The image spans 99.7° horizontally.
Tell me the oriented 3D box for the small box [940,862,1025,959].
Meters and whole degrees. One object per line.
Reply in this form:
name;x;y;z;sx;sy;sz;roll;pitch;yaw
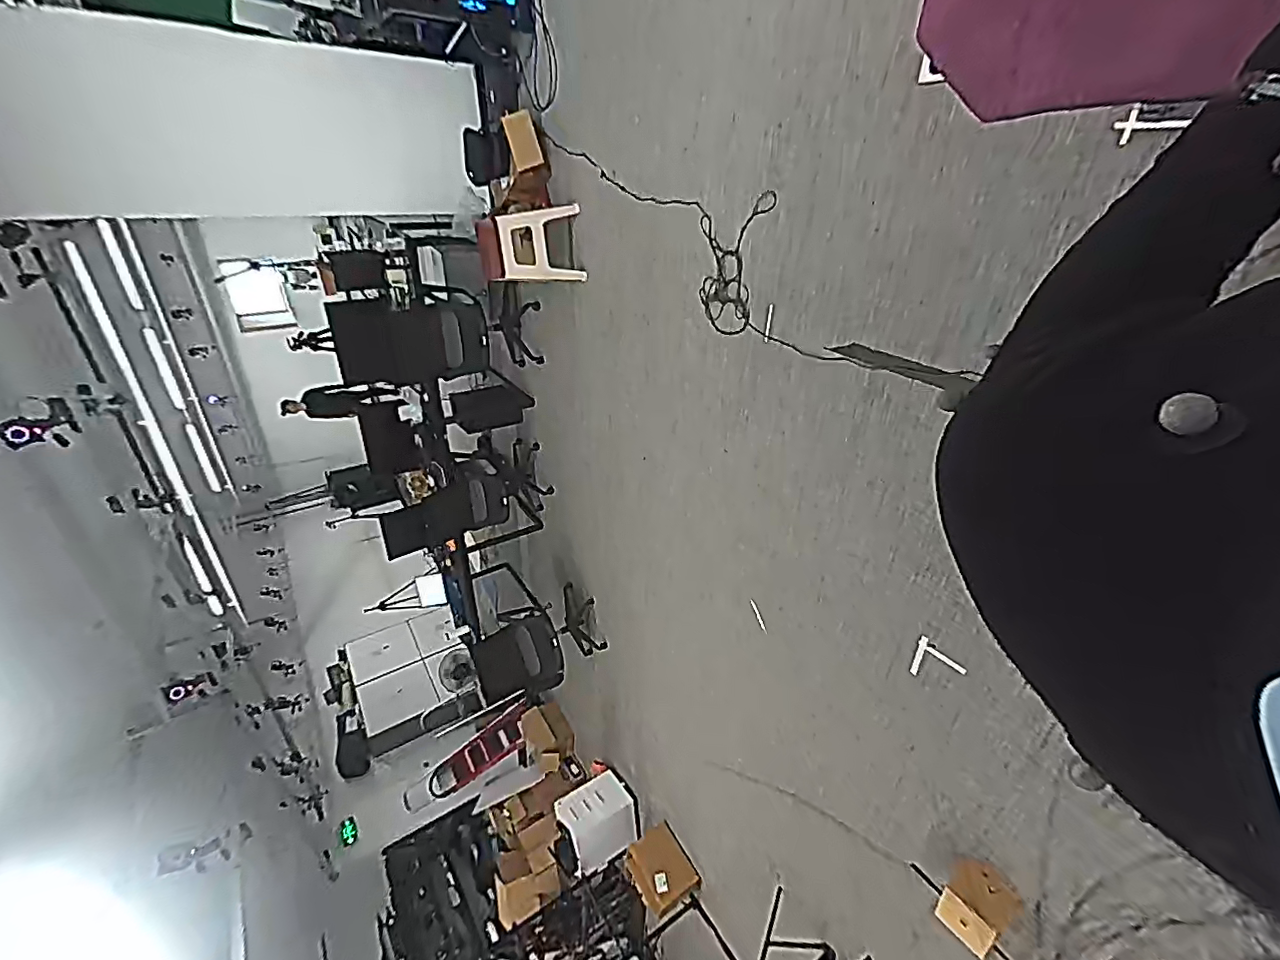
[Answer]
small box;1.141;1.434;1.799;0.168;0.176;0.179;32;131;49
